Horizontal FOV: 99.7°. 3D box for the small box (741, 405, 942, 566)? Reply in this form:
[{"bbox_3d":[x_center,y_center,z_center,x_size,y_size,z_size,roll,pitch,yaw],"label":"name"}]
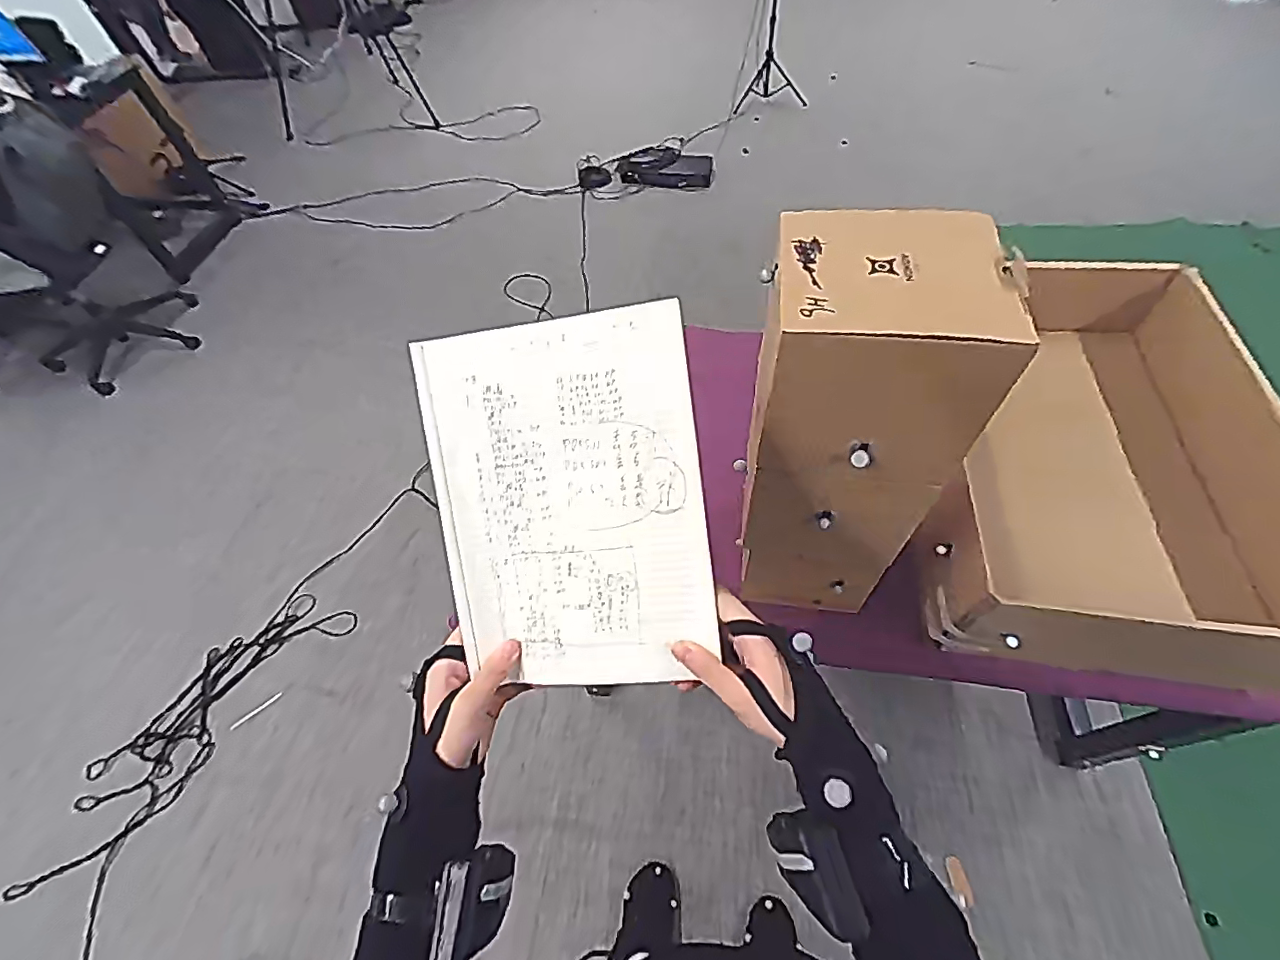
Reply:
[{"bbox_3d":[0.215,-0.015,0.623,0.179,0.176,0.168,5,54,10],"label":"small box"}]

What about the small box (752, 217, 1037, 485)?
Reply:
[{"bbox_3d":[0.203,-0.111,0.489,0.179,0.176,0.168,5,53,8],"label":"small box"}]
